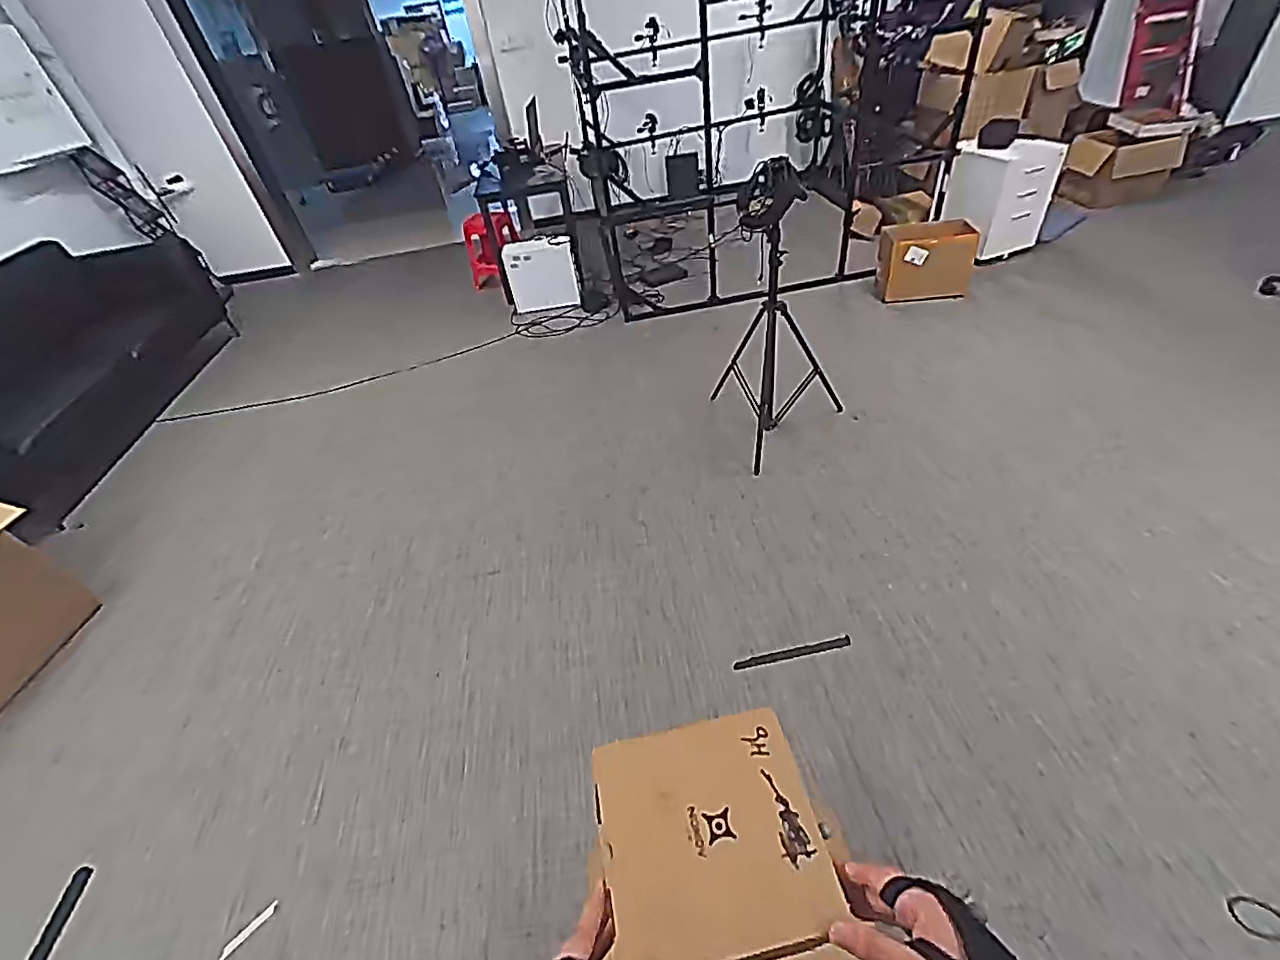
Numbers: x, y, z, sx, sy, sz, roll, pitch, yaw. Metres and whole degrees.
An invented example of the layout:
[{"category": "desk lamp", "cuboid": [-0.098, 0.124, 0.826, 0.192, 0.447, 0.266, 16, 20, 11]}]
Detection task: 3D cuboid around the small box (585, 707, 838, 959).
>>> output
[{"category": "small box", "cuboid": [0.054, 0.340, 0.500, 0.179, 0.176, 0.168, -10, 45, -6]}]
